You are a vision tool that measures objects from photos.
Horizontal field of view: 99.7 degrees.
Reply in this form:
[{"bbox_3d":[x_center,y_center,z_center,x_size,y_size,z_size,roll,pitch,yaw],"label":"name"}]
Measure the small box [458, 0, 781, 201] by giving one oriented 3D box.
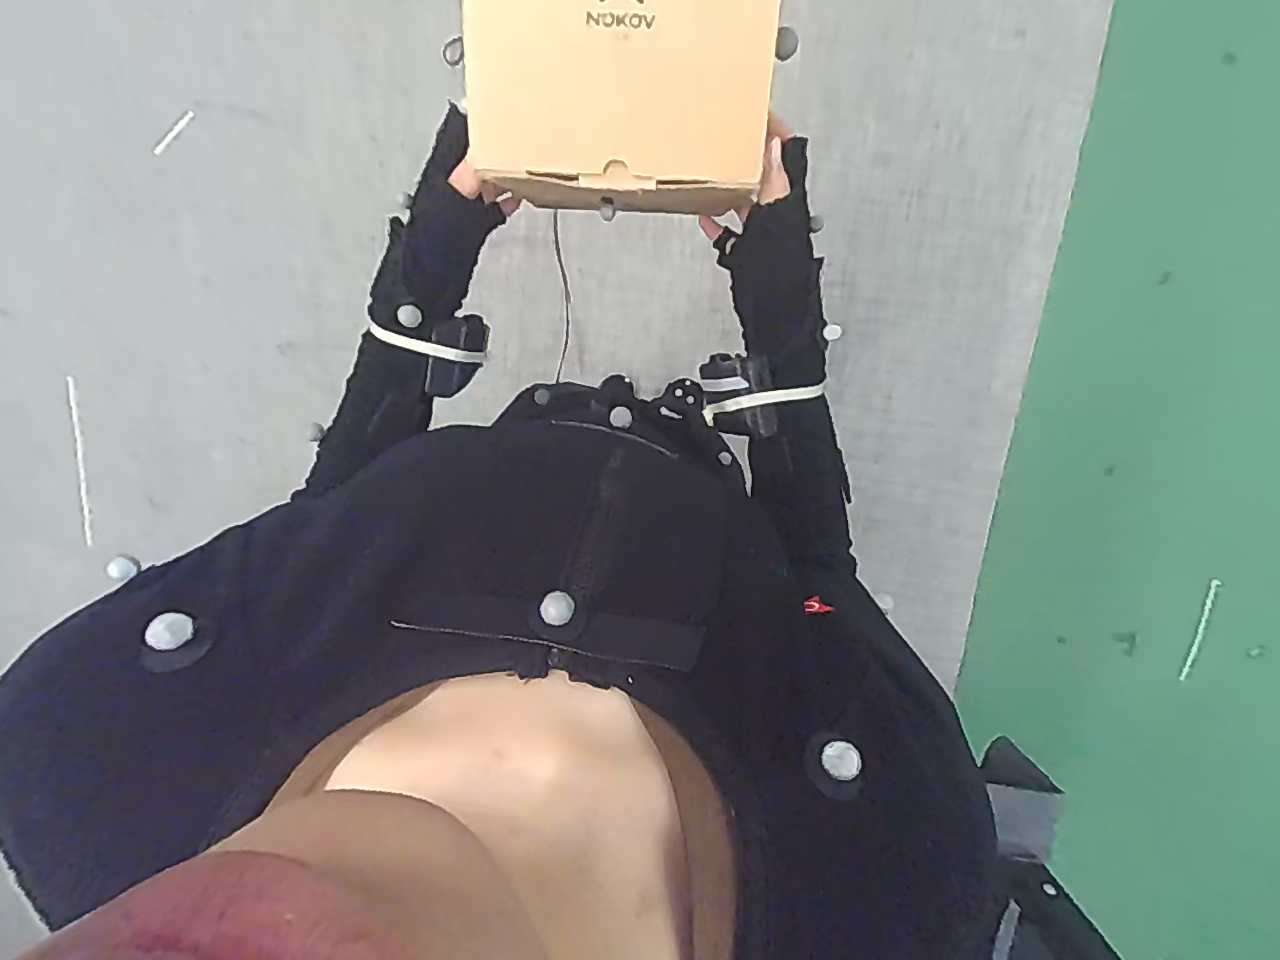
[{"bbox_3d":[-0.009,-0.286,0.342,0.168,0.176,0.179,3,113,1],"label":"small box"}]
